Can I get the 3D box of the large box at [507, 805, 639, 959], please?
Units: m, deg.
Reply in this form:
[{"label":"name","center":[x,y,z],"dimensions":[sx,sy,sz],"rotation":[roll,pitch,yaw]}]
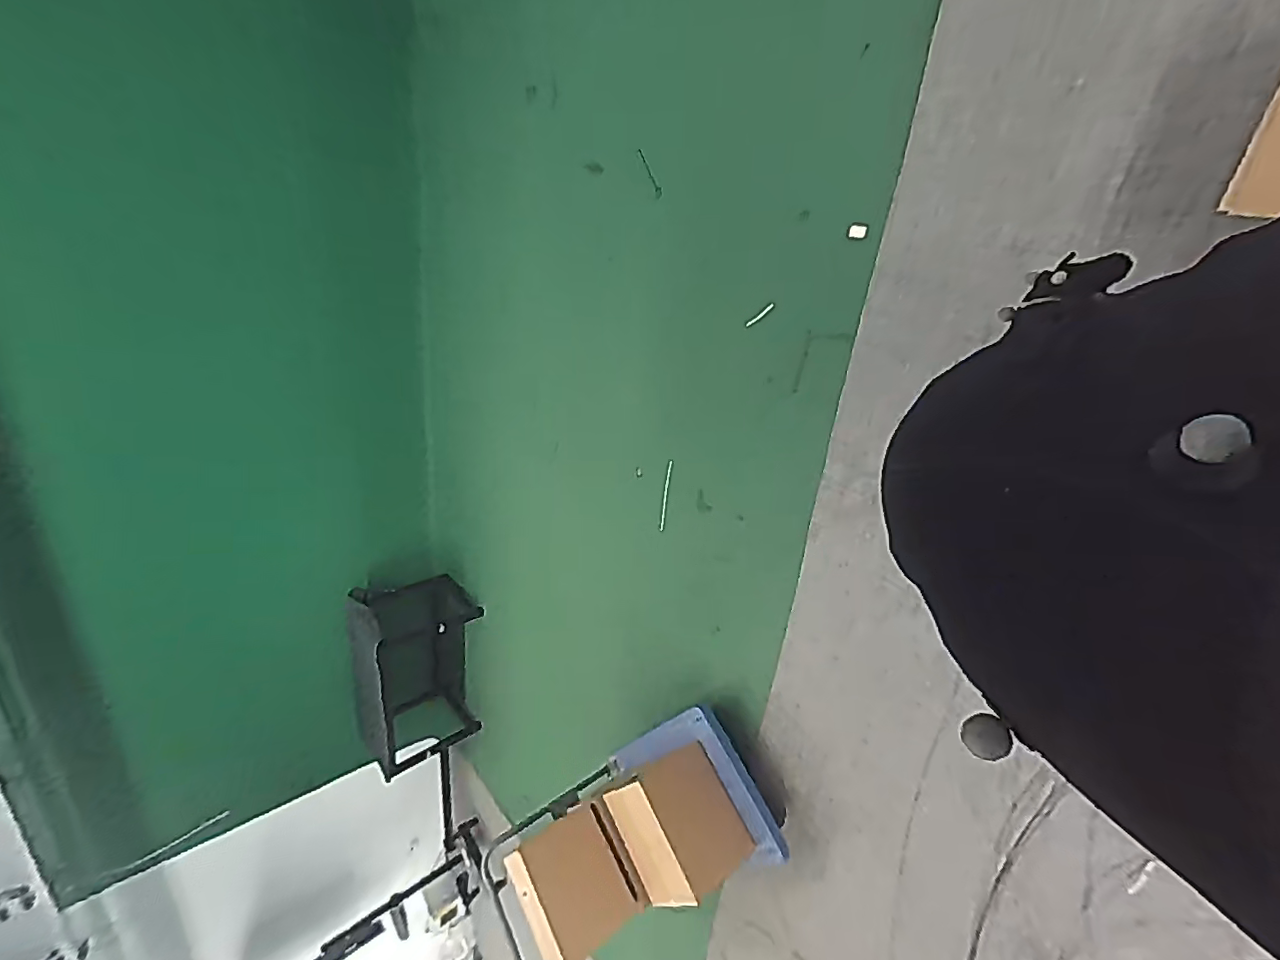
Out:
[{"label":"large box","center":[-0.263,1.535,2.048],"dimensions":[0.408,0.320,0.320],"rotation":[57,141,23]}]
